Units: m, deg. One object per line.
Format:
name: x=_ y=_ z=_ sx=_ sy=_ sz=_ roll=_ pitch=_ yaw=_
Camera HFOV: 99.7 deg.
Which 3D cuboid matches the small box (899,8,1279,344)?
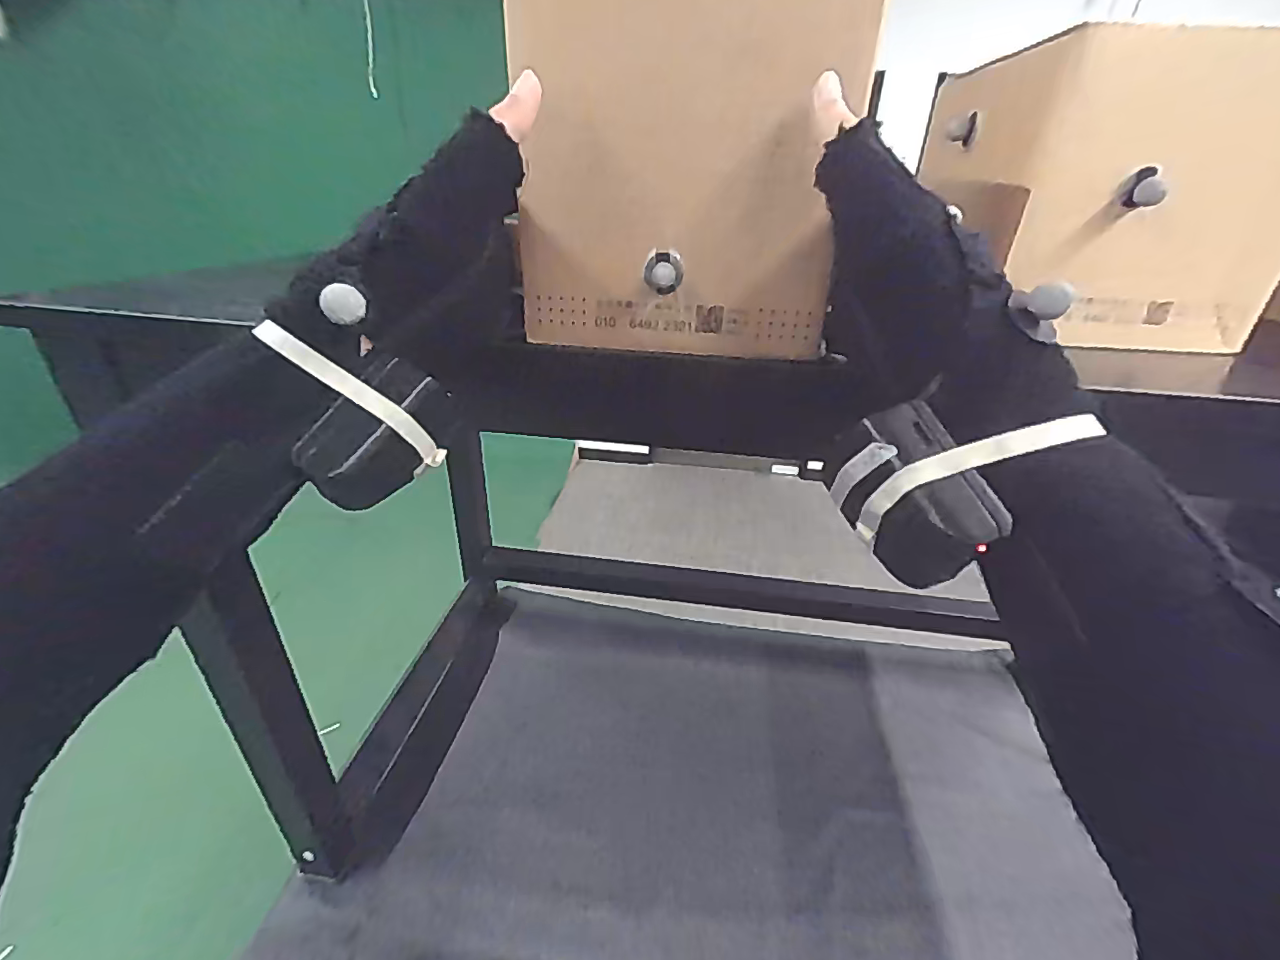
small box: x=0.310 y=-0.199 z=0.380 sx=0.168 sy=0.176 sz=0.179 roll=4 pitch=28 yaw=2
